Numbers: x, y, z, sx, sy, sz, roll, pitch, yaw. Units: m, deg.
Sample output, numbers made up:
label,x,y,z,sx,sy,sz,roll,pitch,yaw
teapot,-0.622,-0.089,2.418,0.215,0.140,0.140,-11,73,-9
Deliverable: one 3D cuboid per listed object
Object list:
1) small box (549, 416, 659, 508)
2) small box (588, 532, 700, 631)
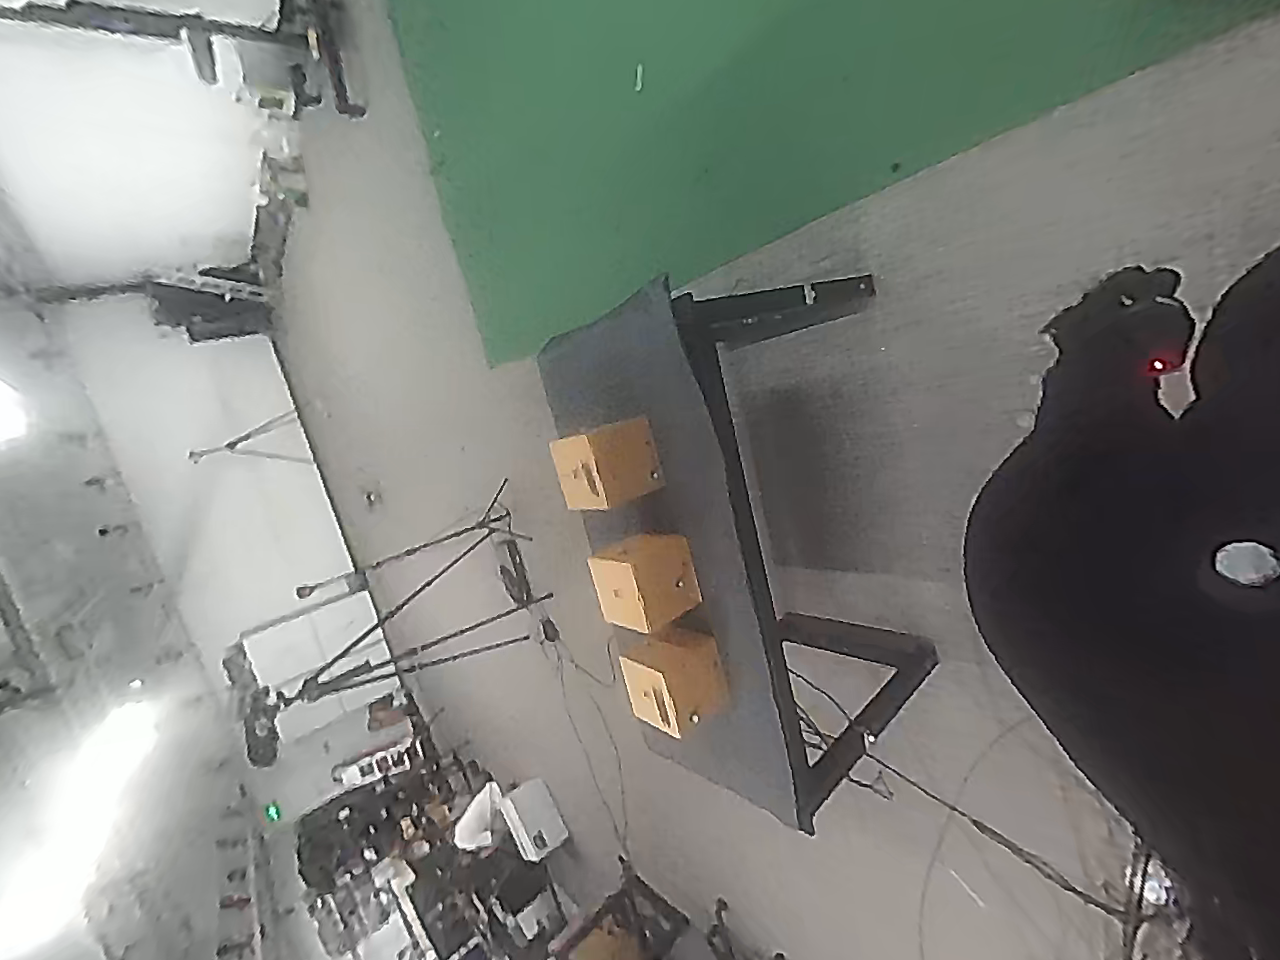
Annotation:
label,x,y,z,sx,sy,sz,roll,pitch,yaw
small box,-0.075,-0.041,1.231,0.179,0.176,0.168,-5,103,53
small box,0.010,0.227,1.261,0.179,0.176,0.168,-5,103,52
